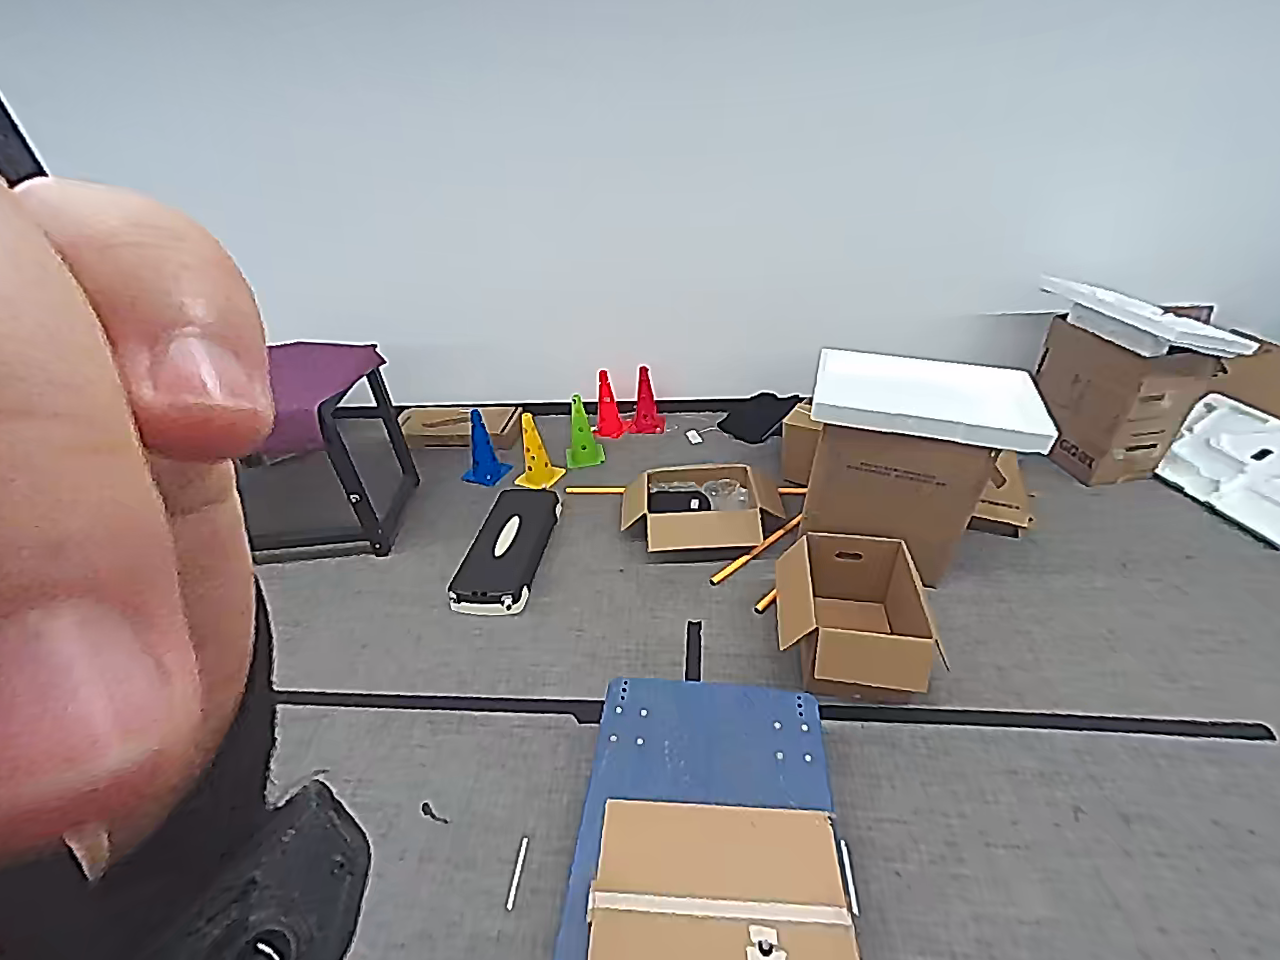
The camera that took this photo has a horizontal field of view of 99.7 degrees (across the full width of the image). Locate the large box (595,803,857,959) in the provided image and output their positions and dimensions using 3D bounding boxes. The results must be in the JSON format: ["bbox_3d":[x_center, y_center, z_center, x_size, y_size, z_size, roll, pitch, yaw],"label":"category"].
[{"bbox_3d":[0.136,0.811,0.953,0.408,0.320,0.320,0,36,4],"label":"large box"}]
